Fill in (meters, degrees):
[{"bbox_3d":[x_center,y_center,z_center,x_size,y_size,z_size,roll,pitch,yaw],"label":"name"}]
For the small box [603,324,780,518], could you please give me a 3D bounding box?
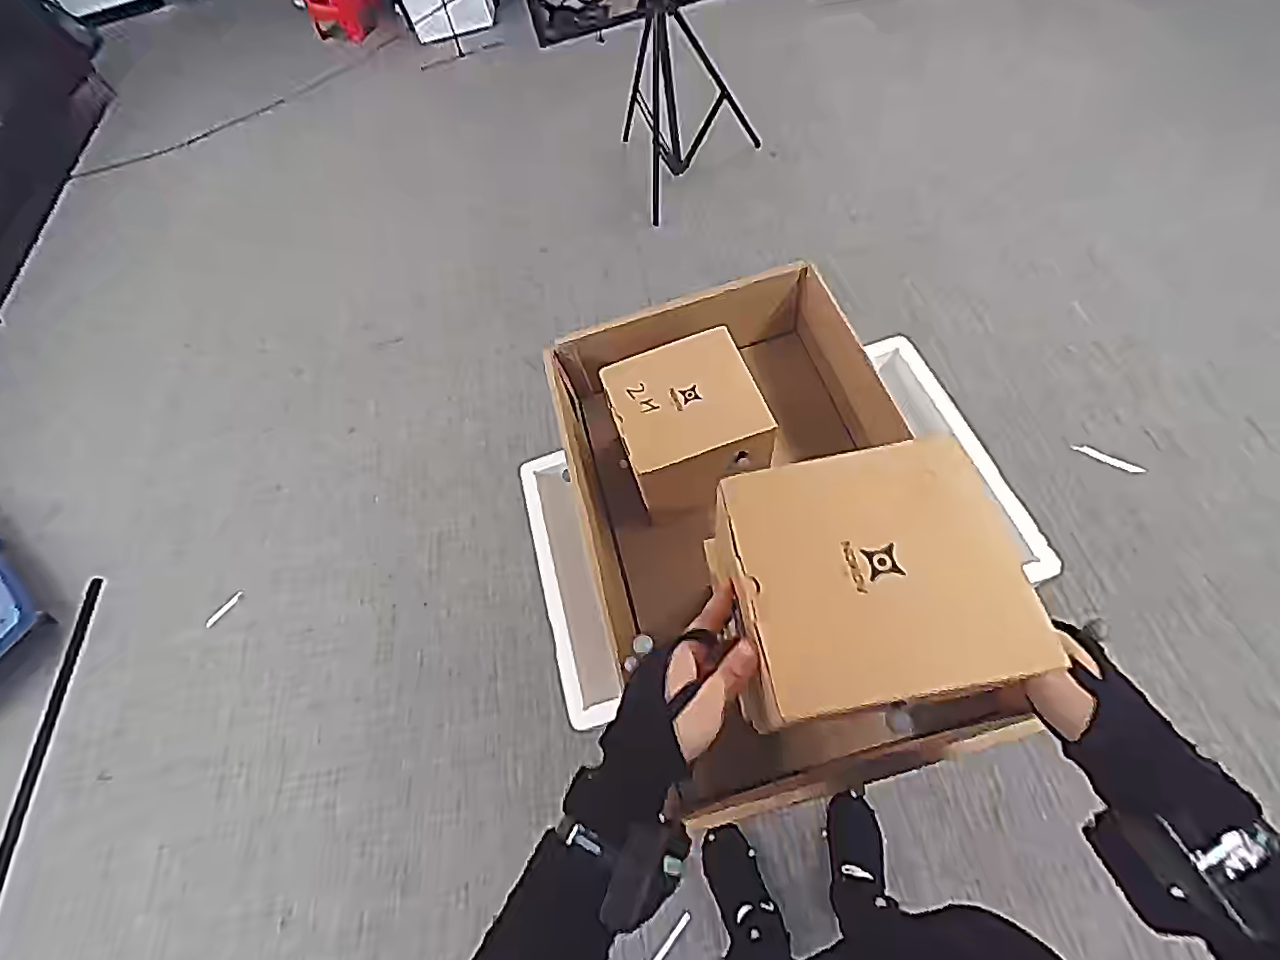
[{"bbox_3d":[0.066,-0.071,0.724,0.179,0.176,0.168,-19,63,-1],"label":"small box"}]
